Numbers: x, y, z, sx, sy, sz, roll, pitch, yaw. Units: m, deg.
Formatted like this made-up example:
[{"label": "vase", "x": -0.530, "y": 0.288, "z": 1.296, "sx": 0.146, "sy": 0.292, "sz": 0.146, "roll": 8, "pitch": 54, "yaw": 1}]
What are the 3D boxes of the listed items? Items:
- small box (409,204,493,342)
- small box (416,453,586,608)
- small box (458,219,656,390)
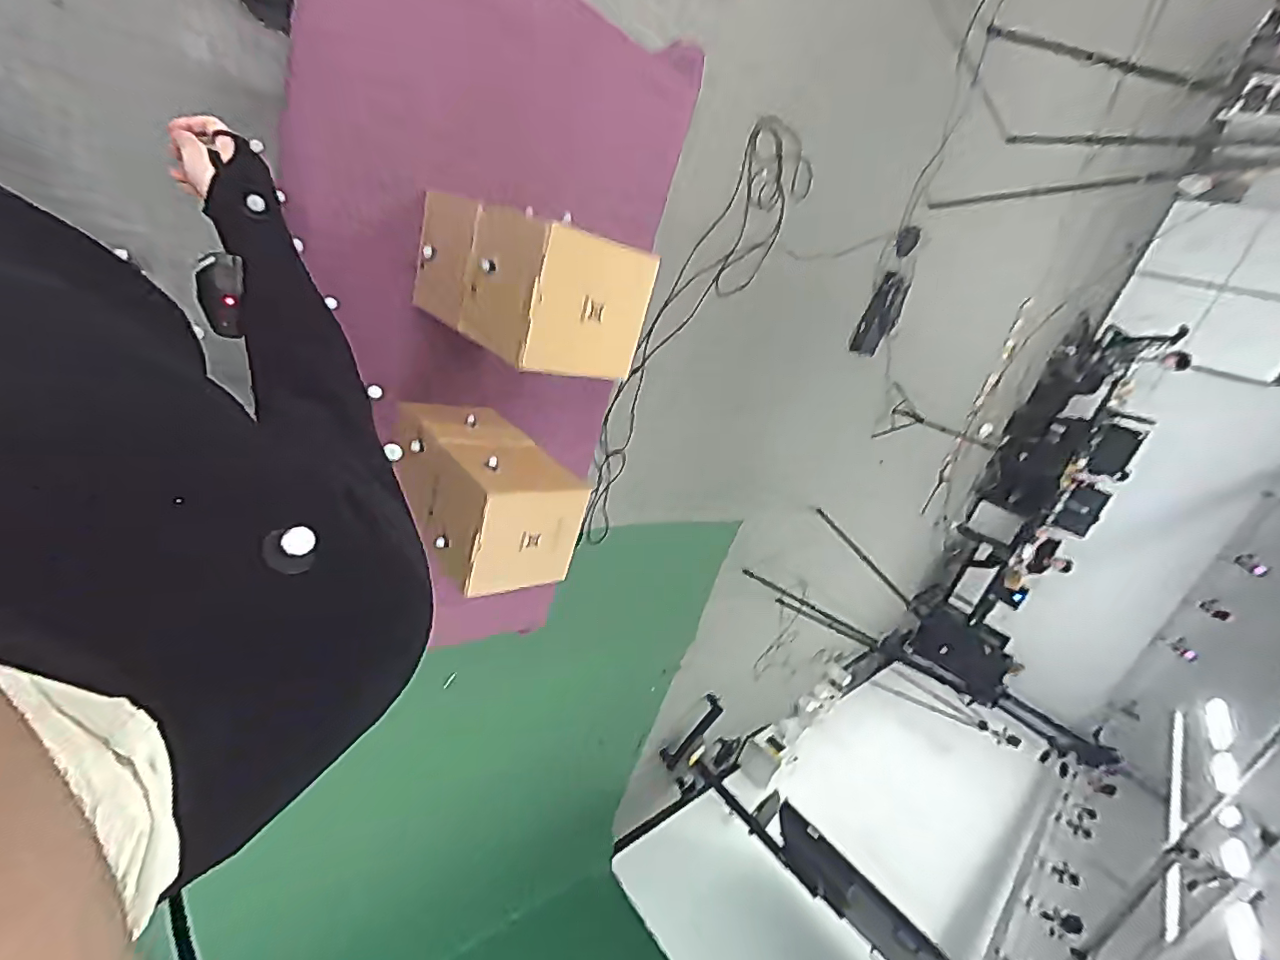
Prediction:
[{"label": "small box", "x": -0.222, "y": -0.302, "z": 0.818, "sx": 0.179, "sy": 0.176, "sz": 0.168, "roll": -3, "pitch": 118, "yaw": -45}, {"label": "small box", "x": -0.216, "y": 0.066, "z": 0.821, "sx": 0.179, "sy": 0.176, "sz": 0.168, "roll": -1, "pitch": 117, "yaw": -47}, {"label": "small box", "x": -0.115, "y": -0.231, "z": 0.718, "sx": 0.179, "sy": 0.176, "sz": 0.168, "roll": -3, "pitch": 119, "yaw": -44}]
